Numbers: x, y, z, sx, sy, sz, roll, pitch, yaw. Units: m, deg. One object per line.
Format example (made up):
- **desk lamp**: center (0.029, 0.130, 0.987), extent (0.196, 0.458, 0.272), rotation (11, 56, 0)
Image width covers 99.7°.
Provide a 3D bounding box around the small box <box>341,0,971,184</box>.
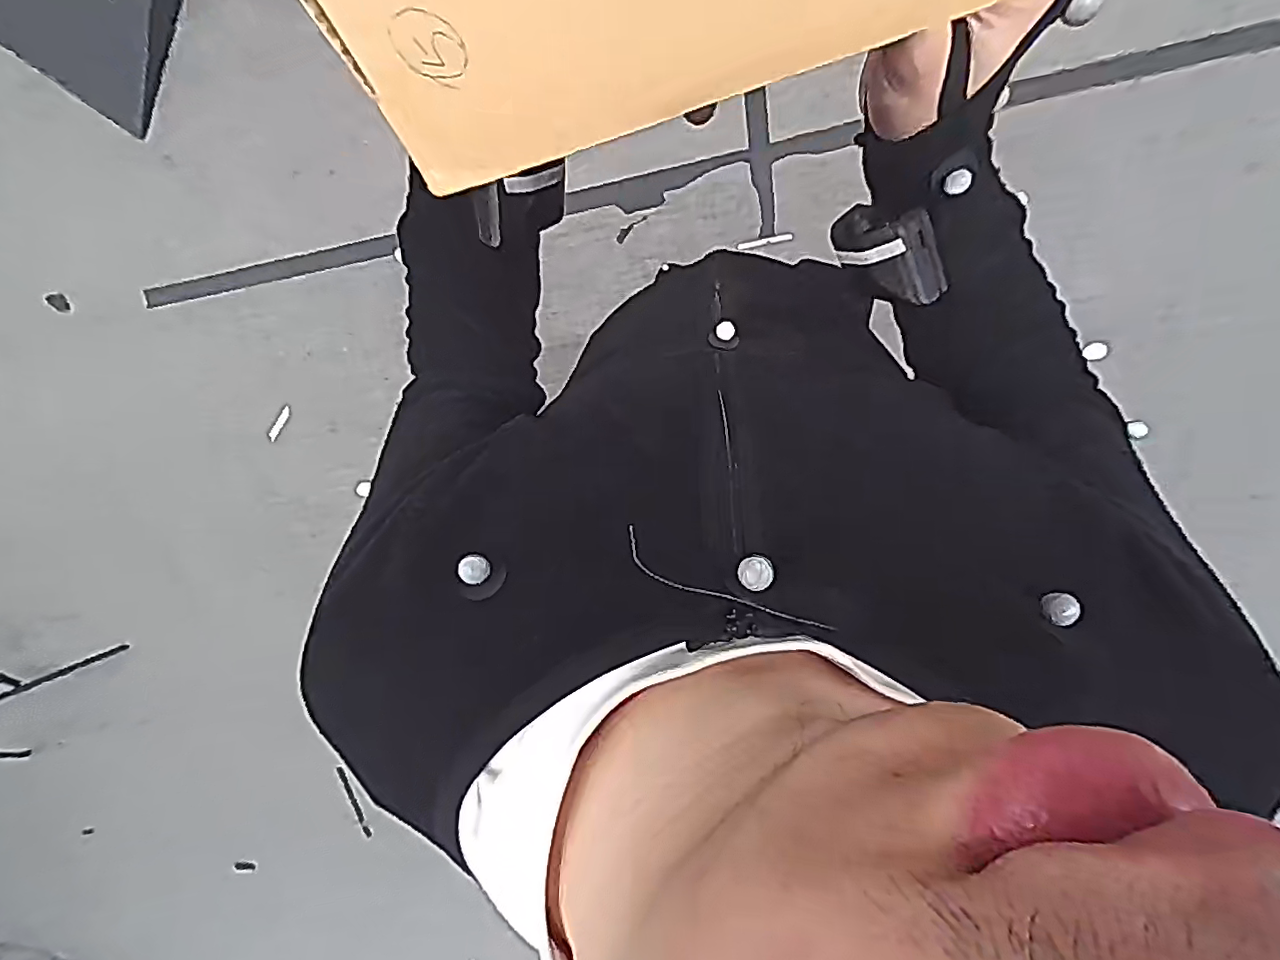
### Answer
- **small box**: center (0.003, -0.218, 0.142), extent (0.179, 0.176, 0.168), rotation (-4, 140, 25)
